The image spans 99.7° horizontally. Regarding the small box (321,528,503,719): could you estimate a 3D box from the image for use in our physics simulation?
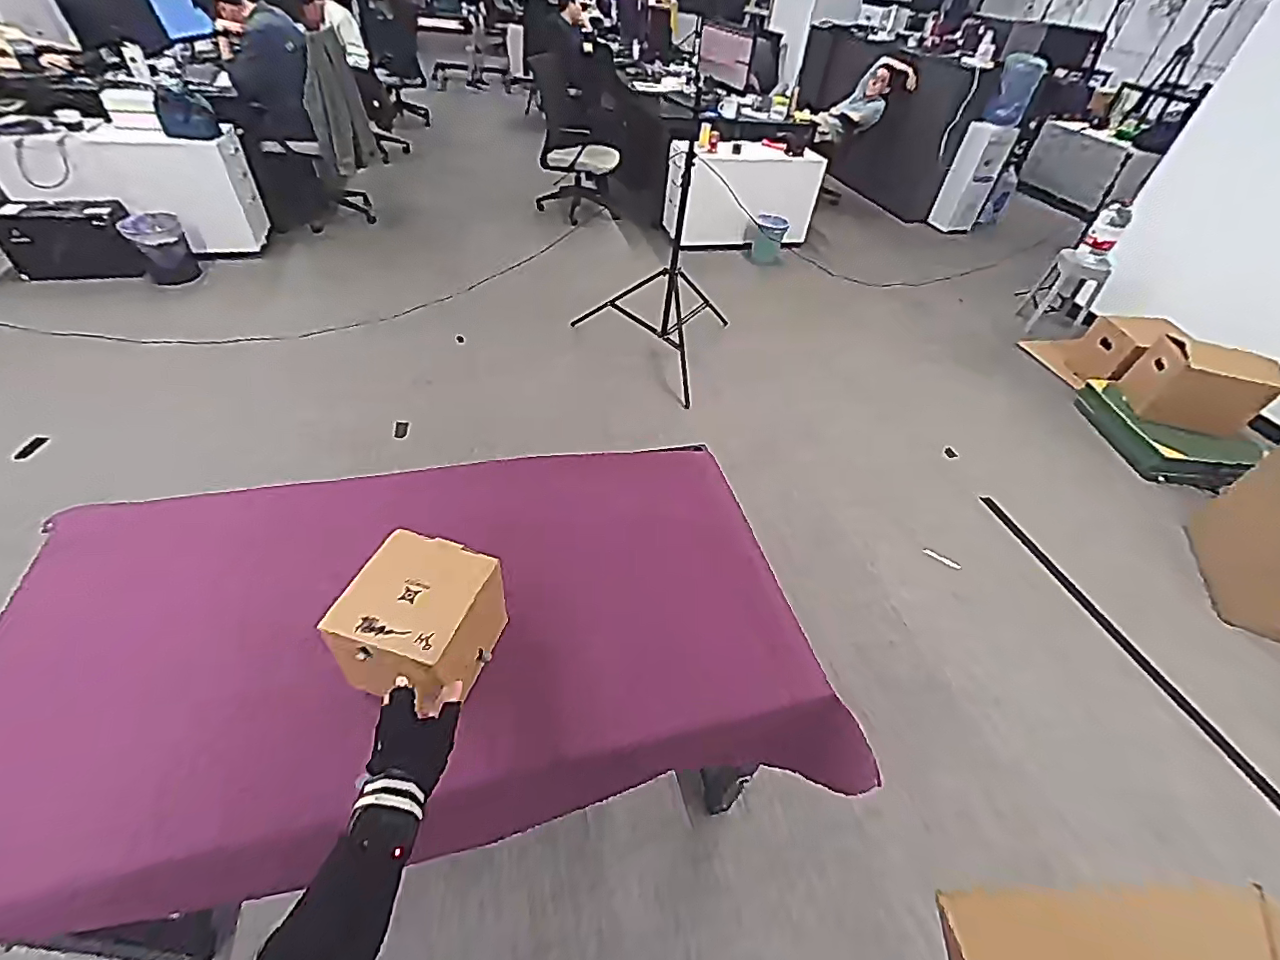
[{"bbox_3d":[-0.308,0.204,0.774,0.168,0.176,0.179,16,43,8],"label":"small box"}]
